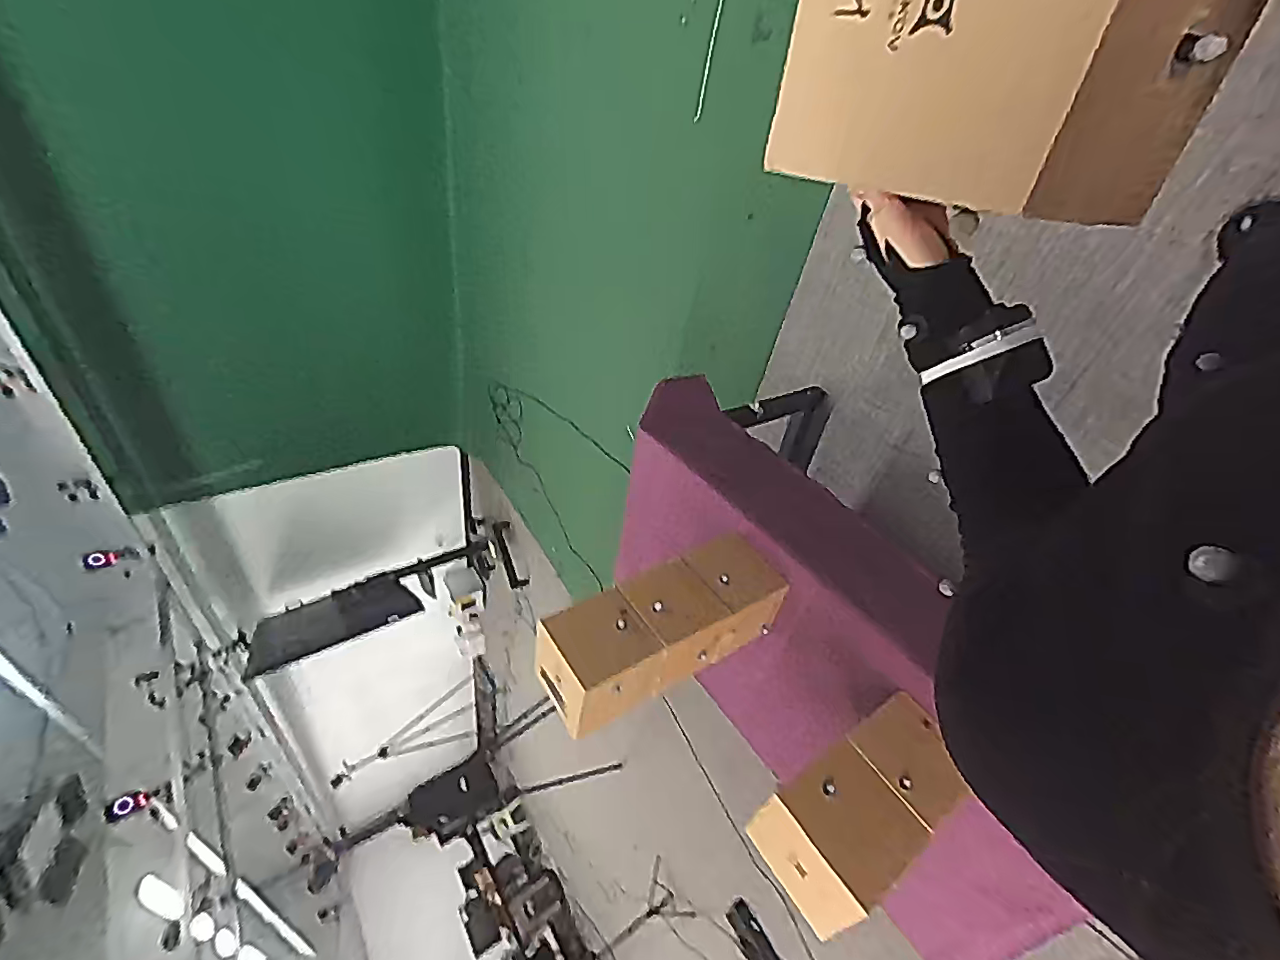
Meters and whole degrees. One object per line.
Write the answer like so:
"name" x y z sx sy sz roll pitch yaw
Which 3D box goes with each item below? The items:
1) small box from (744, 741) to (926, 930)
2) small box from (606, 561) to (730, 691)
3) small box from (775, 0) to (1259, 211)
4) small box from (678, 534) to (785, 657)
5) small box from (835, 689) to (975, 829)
"small box" 0.301 0.545 0.852 0.179 0.176 0.168 47 141 34
"small box" 0.054 0.286 1.106 0.179 0.176 0.168 45 139 36
"small box" 0.217 -0.262 0.312 0.179 0.176 0.168 44 136 40
"small box" 0.188 0.246 1.190 0.179 0.176 0.168 46 140 36
"small box" 0.434 0.502 0.937 0.168 0.176 0.179 46 141 35
